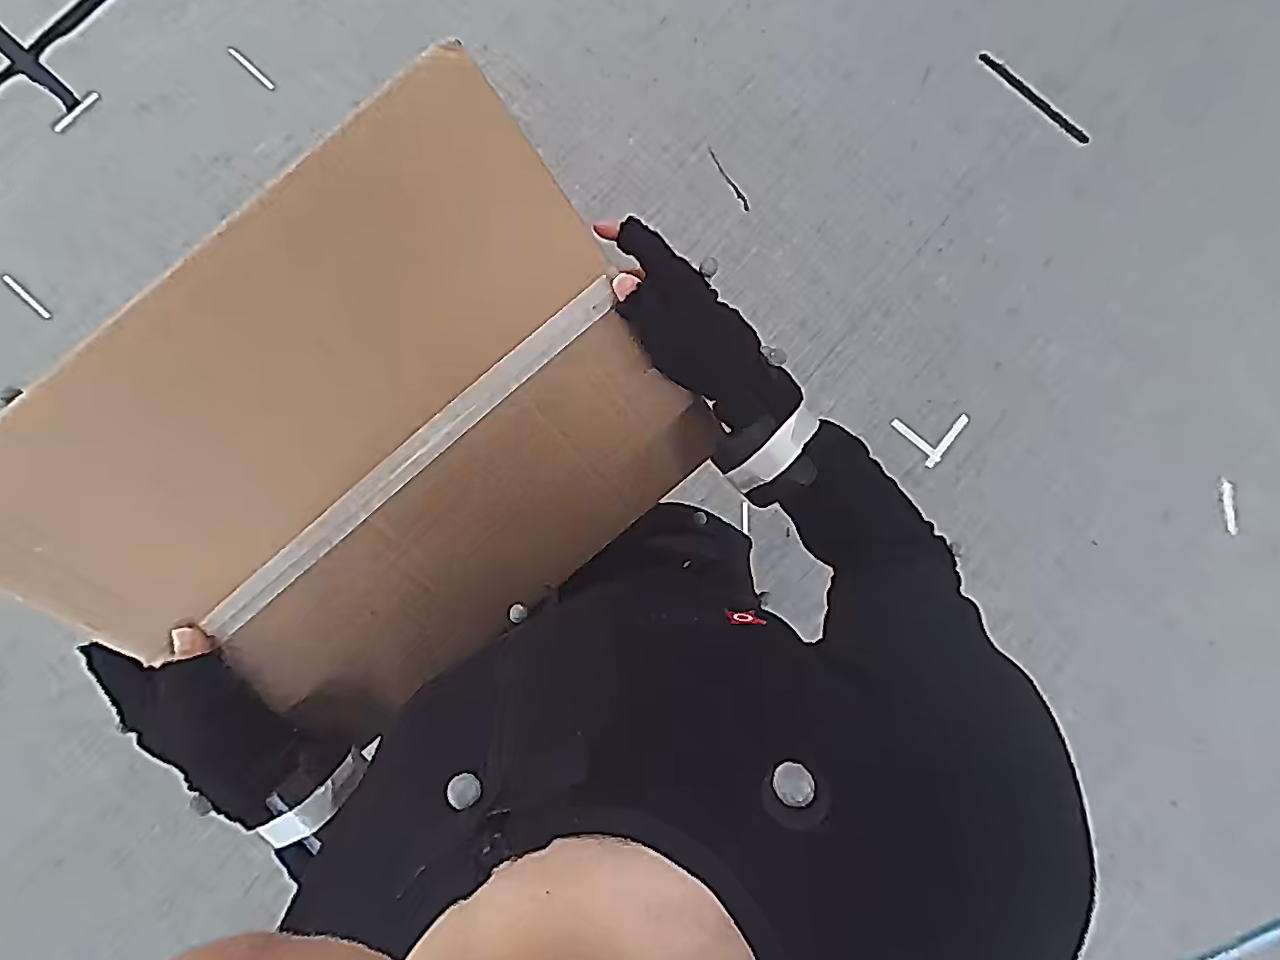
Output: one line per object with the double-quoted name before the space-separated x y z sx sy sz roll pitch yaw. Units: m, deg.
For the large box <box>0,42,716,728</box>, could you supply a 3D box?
"large box" -0.216 -0.072 0.505 0.408 0.320 0.320 -41 122 1
